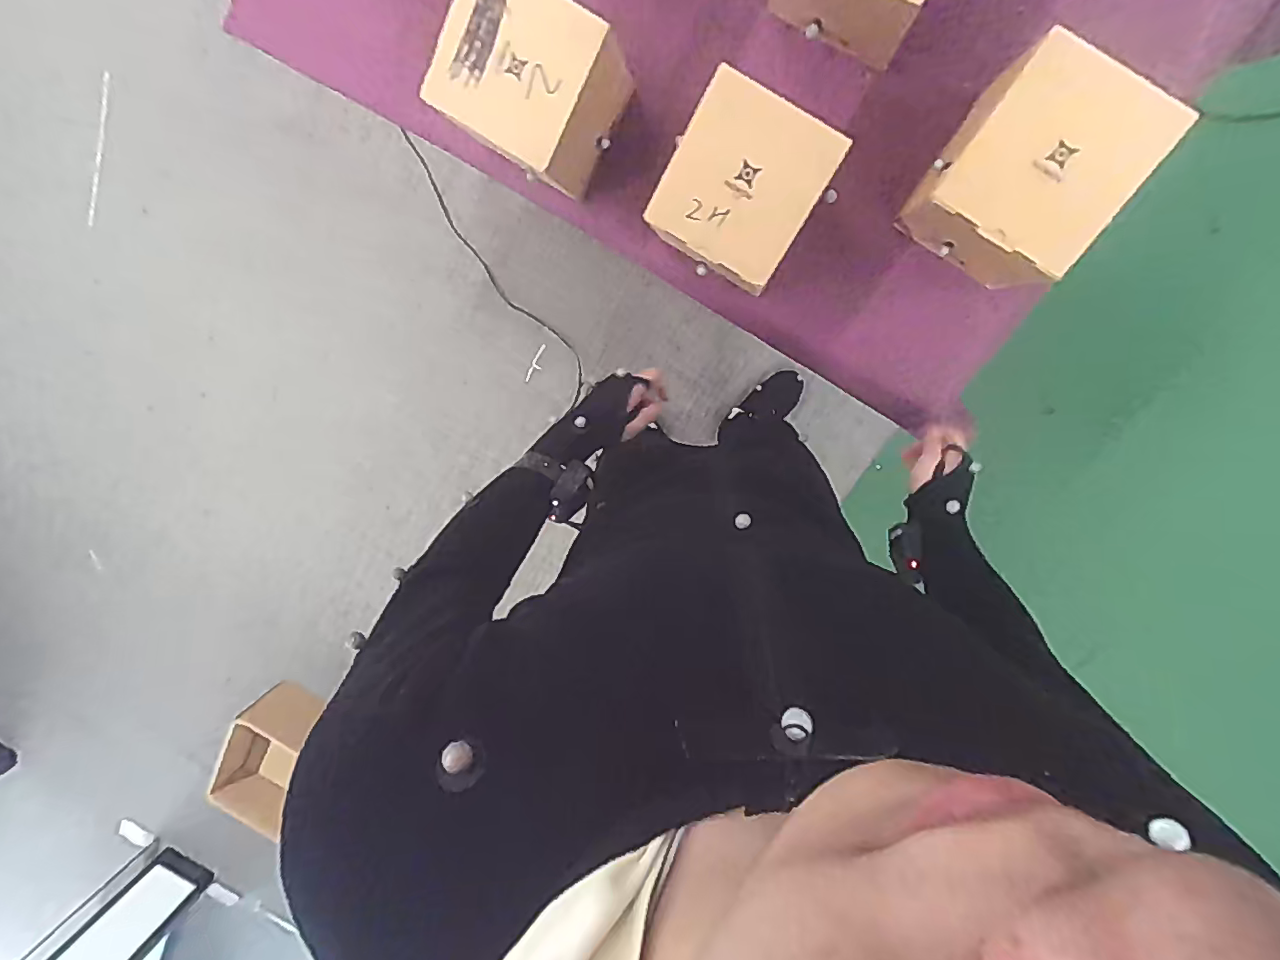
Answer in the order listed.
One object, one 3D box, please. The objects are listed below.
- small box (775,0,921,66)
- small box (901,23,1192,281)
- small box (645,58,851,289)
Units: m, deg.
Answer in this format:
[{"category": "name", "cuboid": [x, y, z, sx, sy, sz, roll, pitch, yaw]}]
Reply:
[{"category": "small box", "cuboid": [0.256, -0.603, 0.579, 0.168, 0.176, 0.179, 30, 111, 2]}, {"category": "small box", "cuboid": [0.436, -0.352, 0.622, 0.168, 0.176, 0.179, 33, 111, 0]}, {"category": "small box", "cuboid": [0.128, -0.361, 0.676, 0.168, 0.176, 0.179, 32, 110, 1]}]
